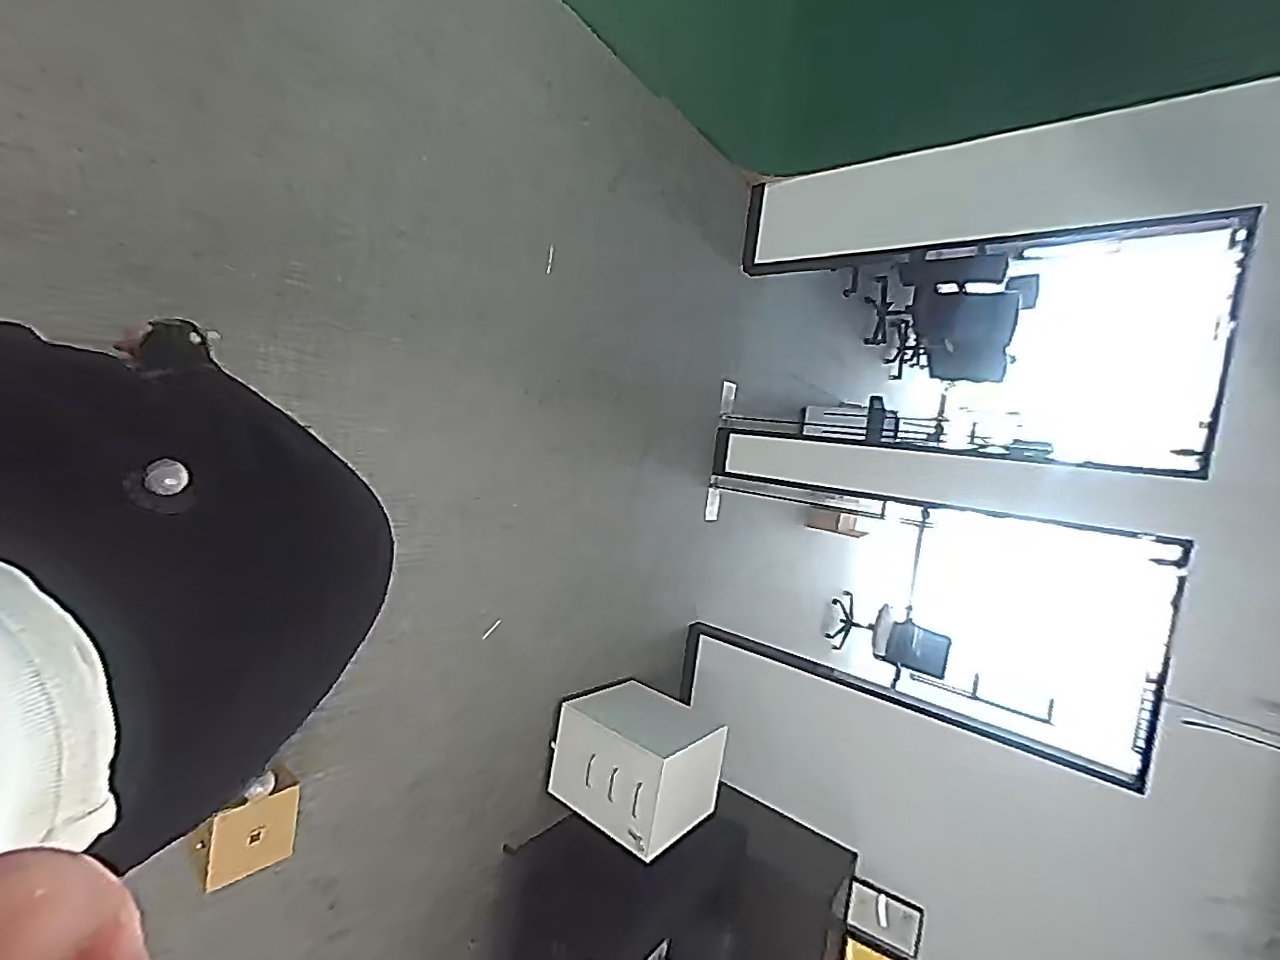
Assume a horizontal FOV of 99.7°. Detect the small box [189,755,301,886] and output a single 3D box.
[{"bbox_3d":[-0.914,0.767,1.250,0.168,0.176,0.179,2,97,-53],"label":"small box"}]
